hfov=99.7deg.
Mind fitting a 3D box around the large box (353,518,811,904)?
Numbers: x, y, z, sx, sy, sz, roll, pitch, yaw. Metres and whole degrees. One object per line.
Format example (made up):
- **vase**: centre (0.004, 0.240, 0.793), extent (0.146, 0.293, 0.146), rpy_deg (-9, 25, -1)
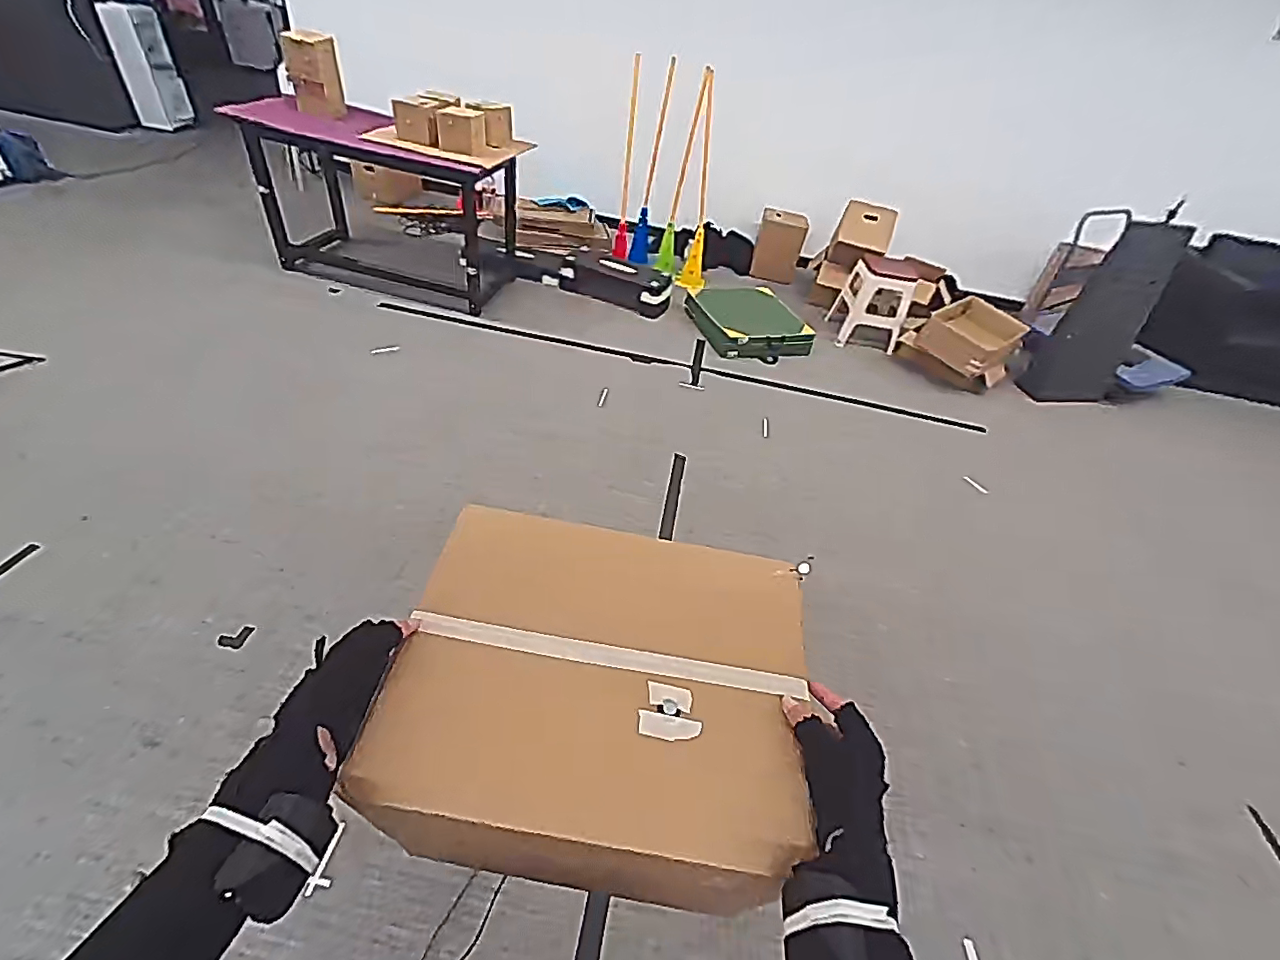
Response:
- **large box**: centre (-0.050, 0.286, 0.665), extent (0.408, 0.320, 0.320), rpy_deg (10, 48, 0)
